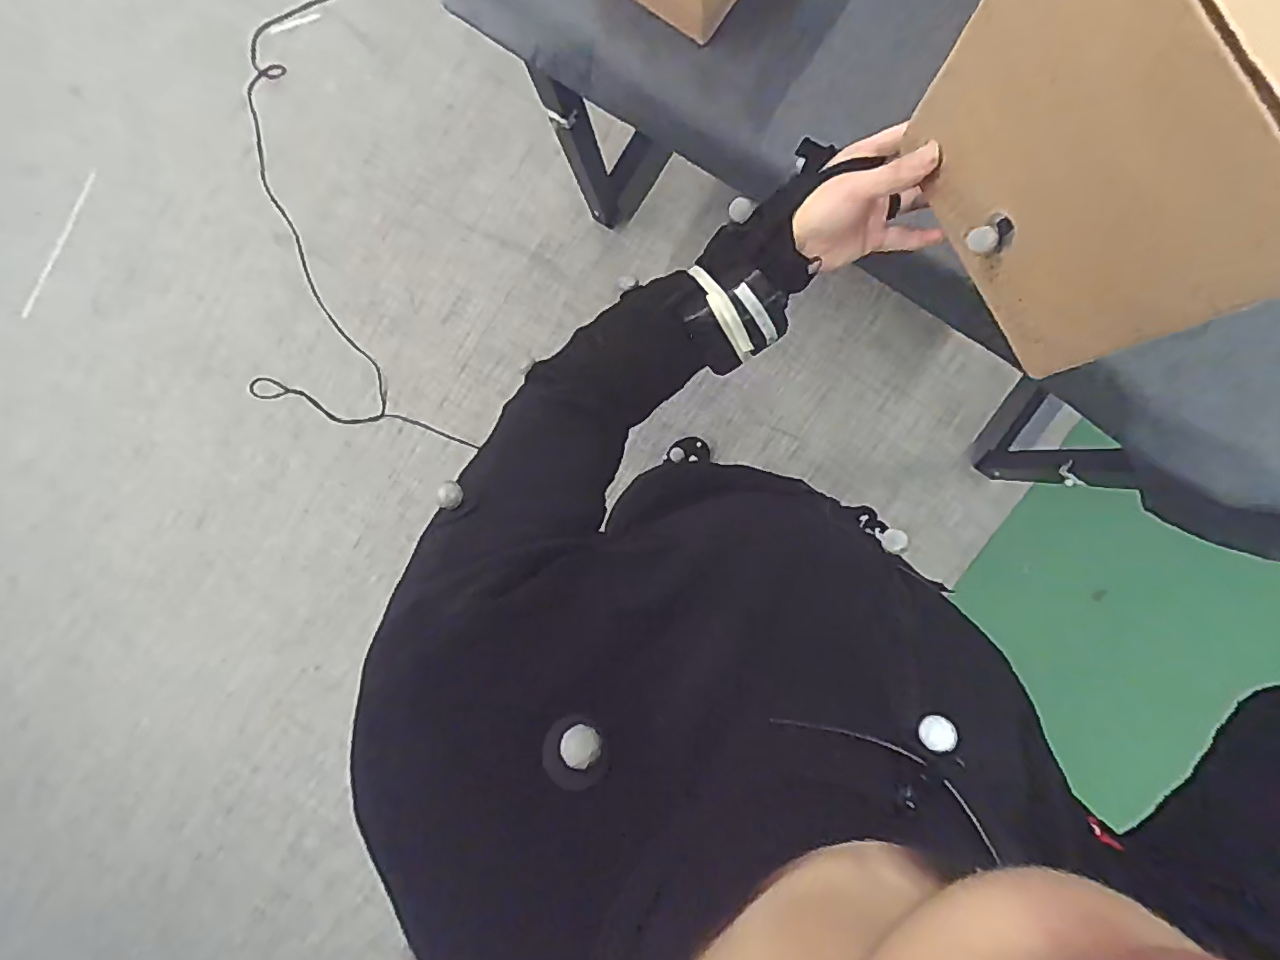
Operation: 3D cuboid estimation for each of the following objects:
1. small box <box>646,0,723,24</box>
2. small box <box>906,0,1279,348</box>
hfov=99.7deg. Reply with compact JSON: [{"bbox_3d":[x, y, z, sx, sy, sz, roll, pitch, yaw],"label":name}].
[{"bbox_3d":[0.044,-0.610,0.529,0.179,0.176,0.168,37,94,3],"label":"small box"},{"bbox_3d":[0.266,-0.180,0.253,0.168,0.176,0.179,-28,86,3],"label":"small box"}]
